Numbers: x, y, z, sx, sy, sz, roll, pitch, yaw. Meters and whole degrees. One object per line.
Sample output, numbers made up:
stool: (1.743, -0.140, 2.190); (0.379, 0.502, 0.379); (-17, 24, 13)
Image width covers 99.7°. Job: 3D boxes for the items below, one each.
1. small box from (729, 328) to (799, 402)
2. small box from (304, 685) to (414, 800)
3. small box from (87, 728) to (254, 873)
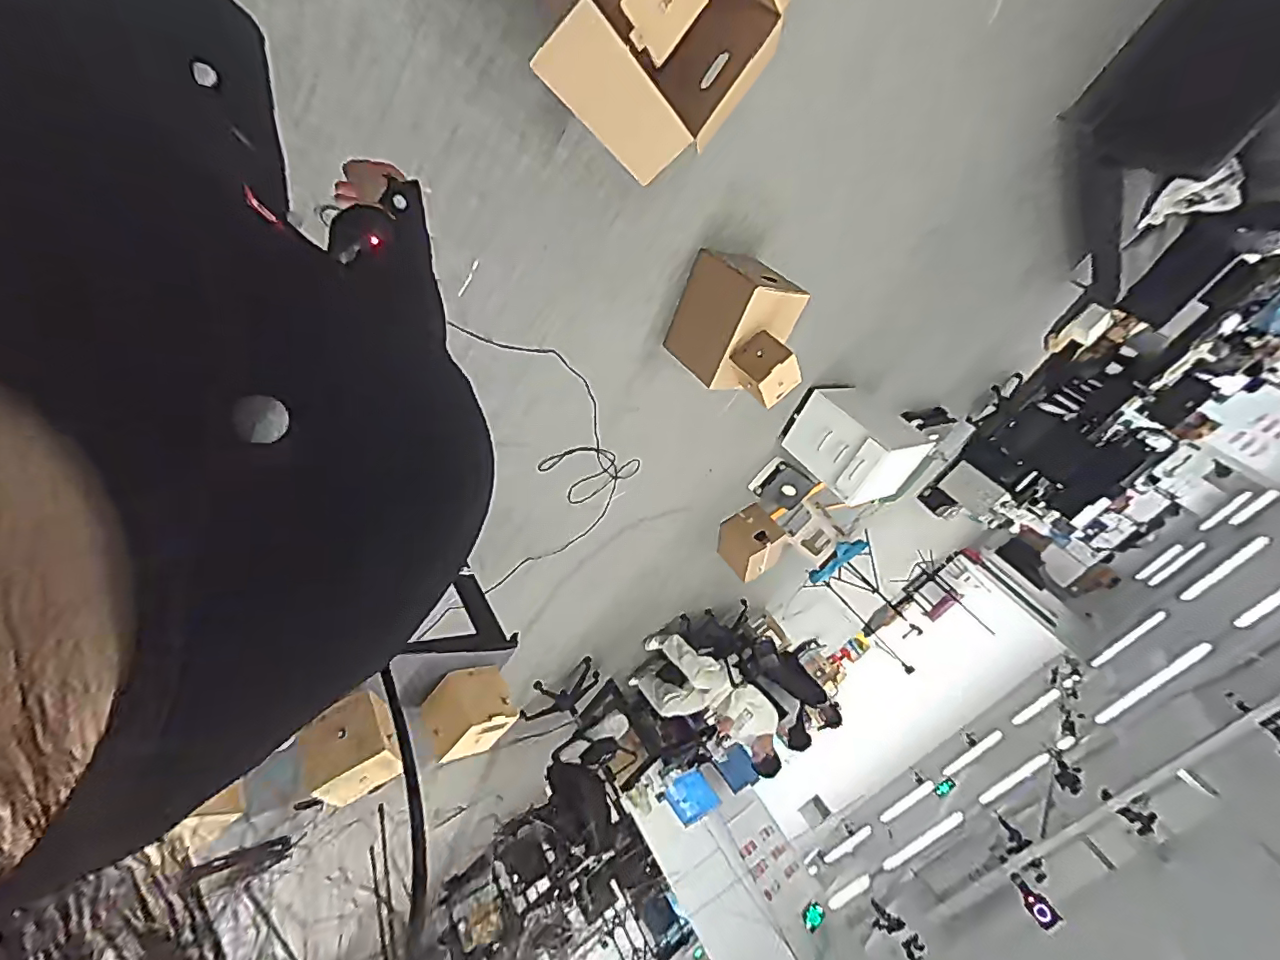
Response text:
small box: (0.447, -0.424, 1.960); (0.168, 0.176, 0.179); (-41, 146, 3)
small box: (-0.671, 0.622, 1.293); (0.168, 0.176, 0.179); (-26, 146, -20)
small box: (-0.894, 0.598, 1.032); (0.168, 0.176, 0.179); (-37, 150, -3)
